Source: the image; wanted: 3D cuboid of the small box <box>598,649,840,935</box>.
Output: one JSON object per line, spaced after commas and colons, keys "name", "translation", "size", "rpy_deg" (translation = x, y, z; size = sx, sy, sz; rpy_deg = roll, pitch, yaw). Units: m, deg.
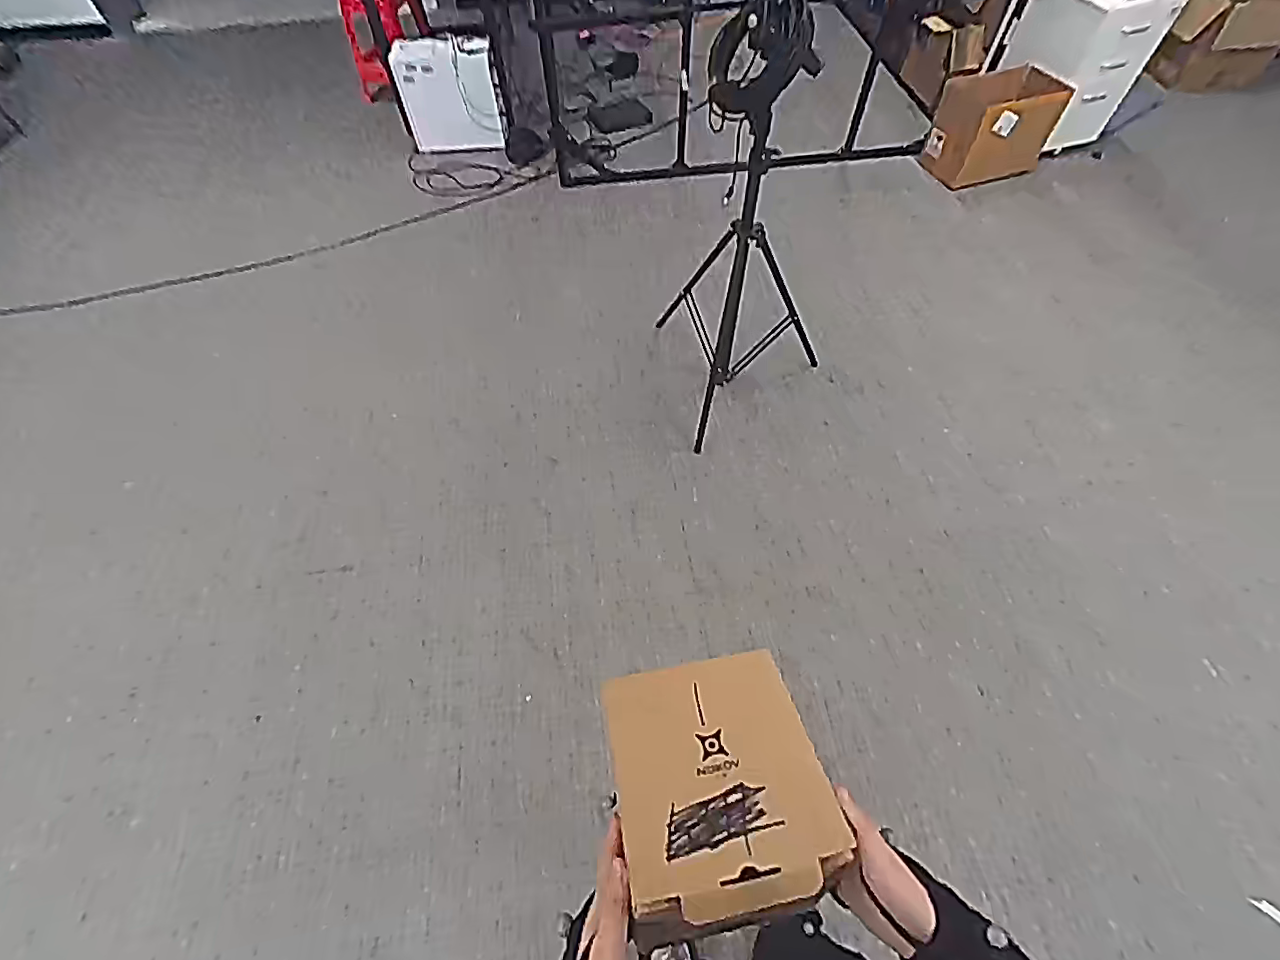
{"name": "small box", "translation": [0.057, 0.289, 0.501], "size": [0.168, 0.176, 0.179], "rpy_deg": [-7, 40, -7]}
